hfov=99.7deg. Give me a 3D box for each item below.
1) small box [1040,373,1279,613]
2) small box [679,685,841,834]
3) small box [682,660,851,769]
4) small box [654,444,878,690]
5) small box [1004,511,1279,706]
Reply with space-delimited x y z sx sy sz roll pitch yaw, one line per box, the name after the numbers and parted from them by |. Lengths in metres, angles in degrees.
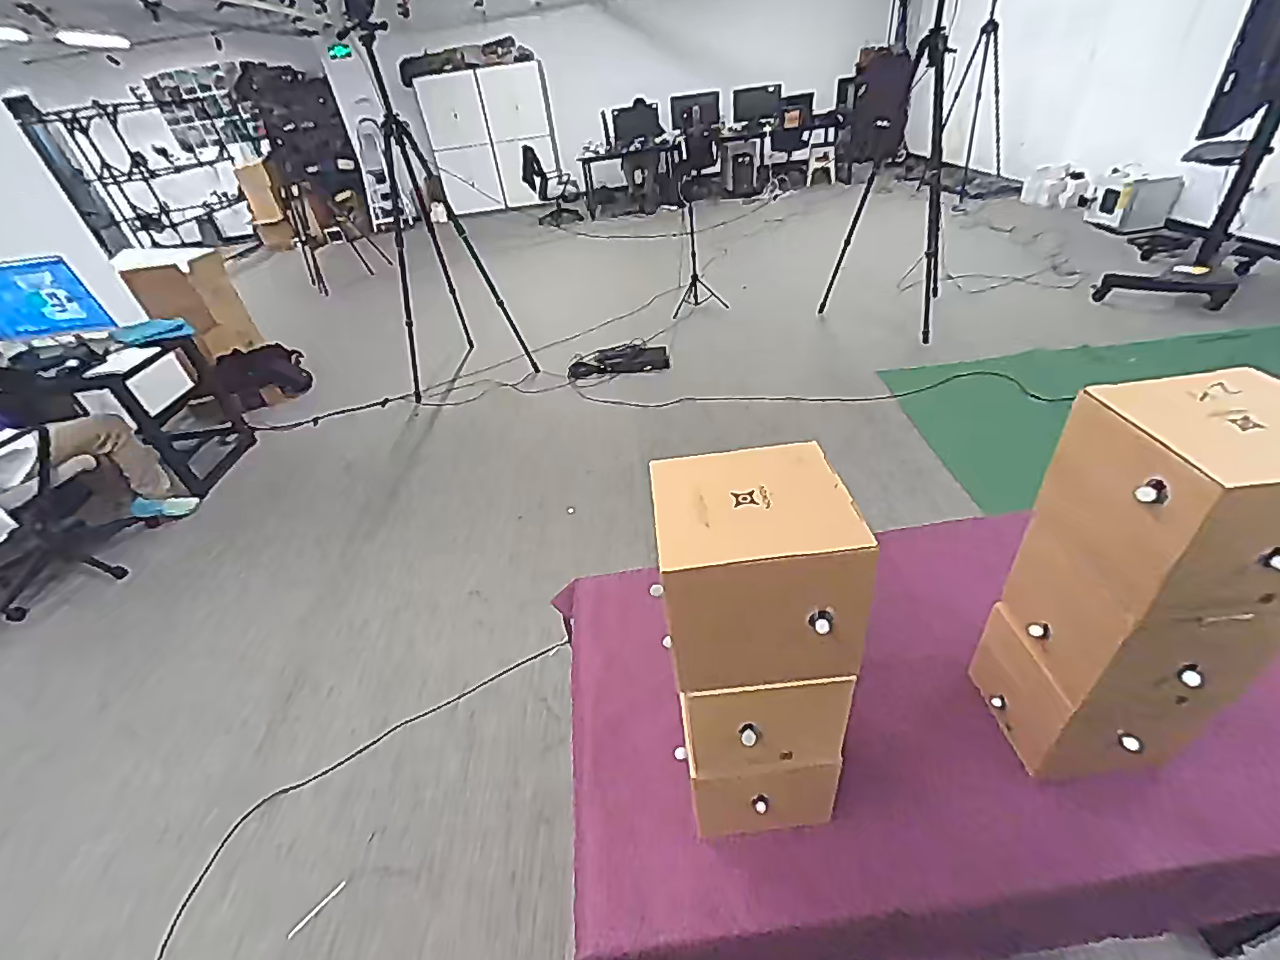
0.548 0.016 0.534 0.168 0.176 0.179 -6 36 4 | small box
0.149 0.347 0.728 0.179 0.176 0.168 -8 36 2 | small box
0.132 0.216 0.633 0.168 0.176 0.179 -7 35 2 | small box
0.110 0.085 0.538 0.179 0.176 0.168 -7 34 3 | small box
0.571 0.147 0.633 0.168 0.176 0.179 -5 37 5 | small box
